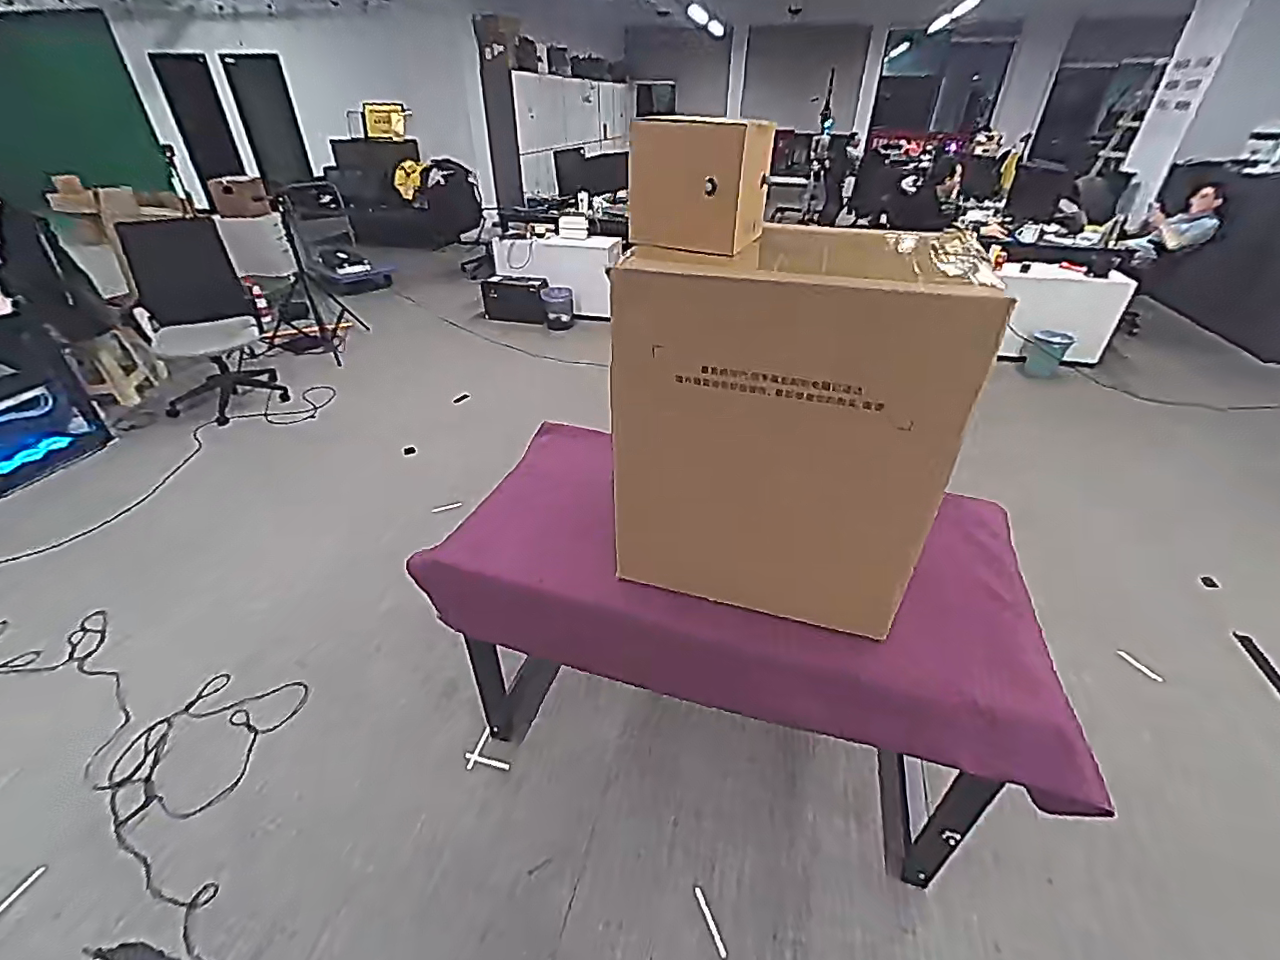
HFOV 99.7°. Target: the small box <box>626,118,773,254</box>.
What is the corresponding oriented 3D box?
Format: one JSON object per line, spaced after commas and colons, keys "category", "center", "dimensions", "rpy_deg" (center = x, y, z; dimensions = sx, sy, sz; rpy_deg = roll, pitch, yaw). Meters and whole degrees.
{"category": "small box", "center": [0.090, -0.457, 0.841], "dimensions": [0.179, 0.176, 0.168], "rpy_deg": [15, 37, 20]}
